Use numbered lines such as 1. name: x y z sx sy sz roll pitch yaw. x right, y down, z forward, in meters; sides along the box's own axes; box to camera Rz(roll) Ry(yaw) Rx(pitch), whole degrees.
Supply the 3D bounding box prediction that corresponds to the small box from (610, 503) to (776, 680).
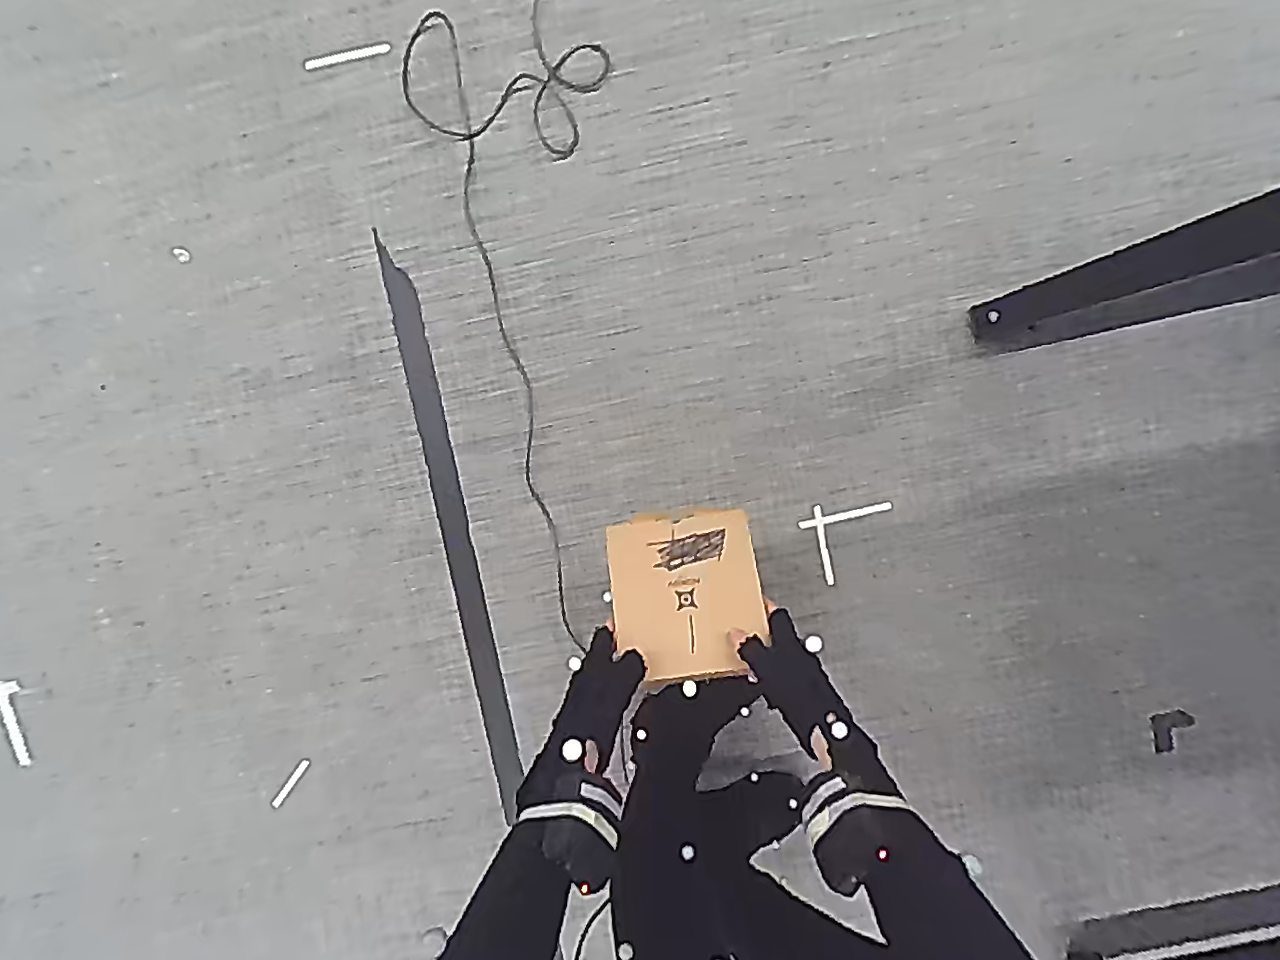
1. small box: 0.054 0.144 0.664 0.168 0.176 0.179 -6 68 0
